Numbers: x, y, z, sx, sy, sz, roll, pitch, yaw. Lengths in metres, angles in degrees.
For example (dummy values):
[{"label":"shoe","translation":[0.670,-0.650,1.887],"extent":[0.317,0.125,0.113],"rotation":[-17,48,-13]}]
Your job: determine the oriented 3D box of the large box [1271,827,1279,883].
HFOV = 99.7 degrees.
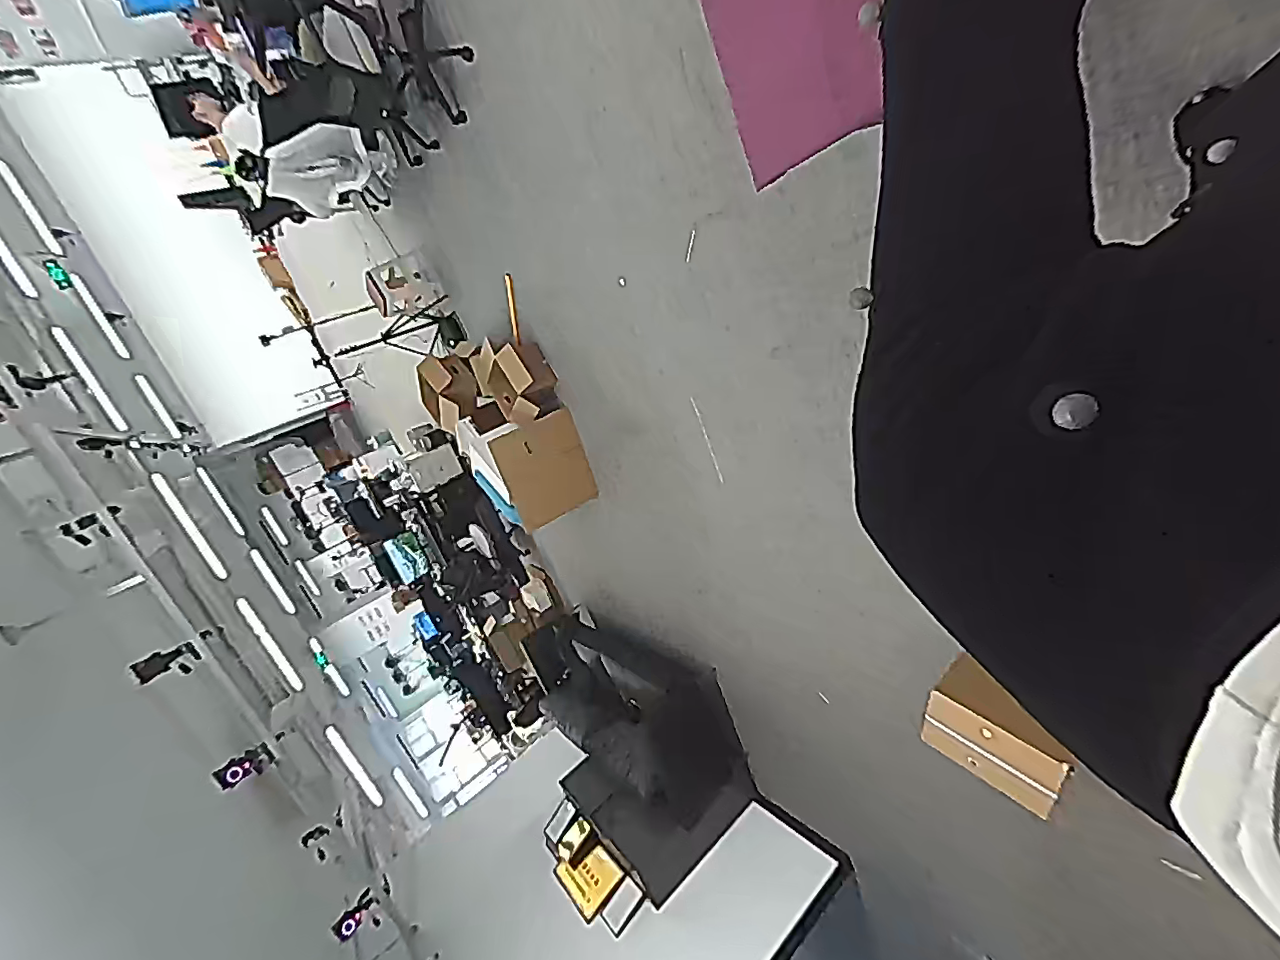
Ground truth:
[{"label":"large box","translation":[1.784,0.914,1.188],"extent":[0.320,0.320,0.408],"rotation":[52,149,11]}]
